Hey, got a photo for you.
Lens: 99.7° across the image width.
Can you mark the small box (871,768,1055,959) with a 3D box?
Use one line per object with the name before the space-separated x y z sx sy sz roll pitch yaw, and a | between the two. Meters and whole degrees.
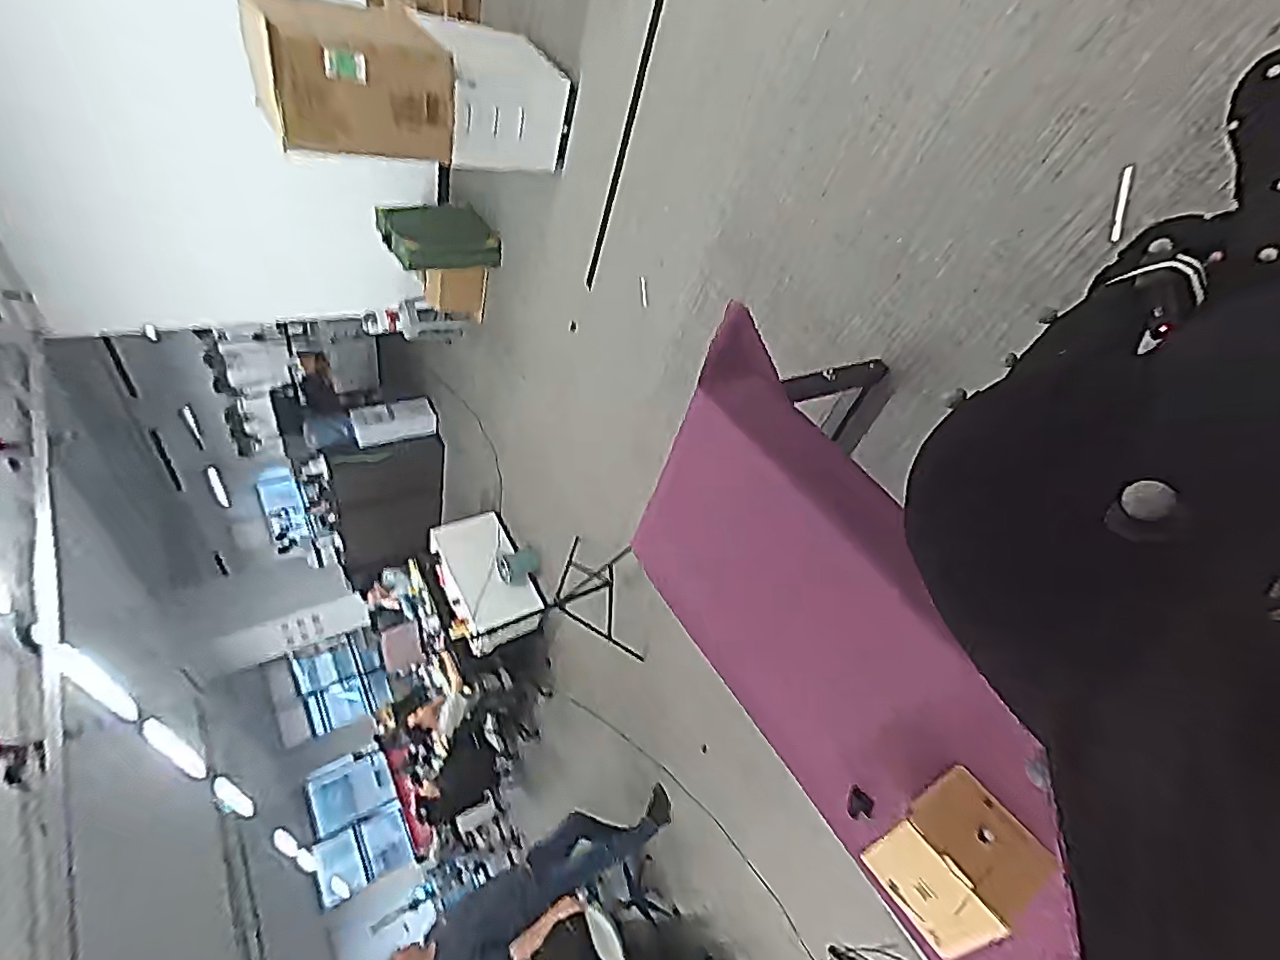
small box | 0.519 0.606 0.869 0.168 0.176 0.179 47 139 36
